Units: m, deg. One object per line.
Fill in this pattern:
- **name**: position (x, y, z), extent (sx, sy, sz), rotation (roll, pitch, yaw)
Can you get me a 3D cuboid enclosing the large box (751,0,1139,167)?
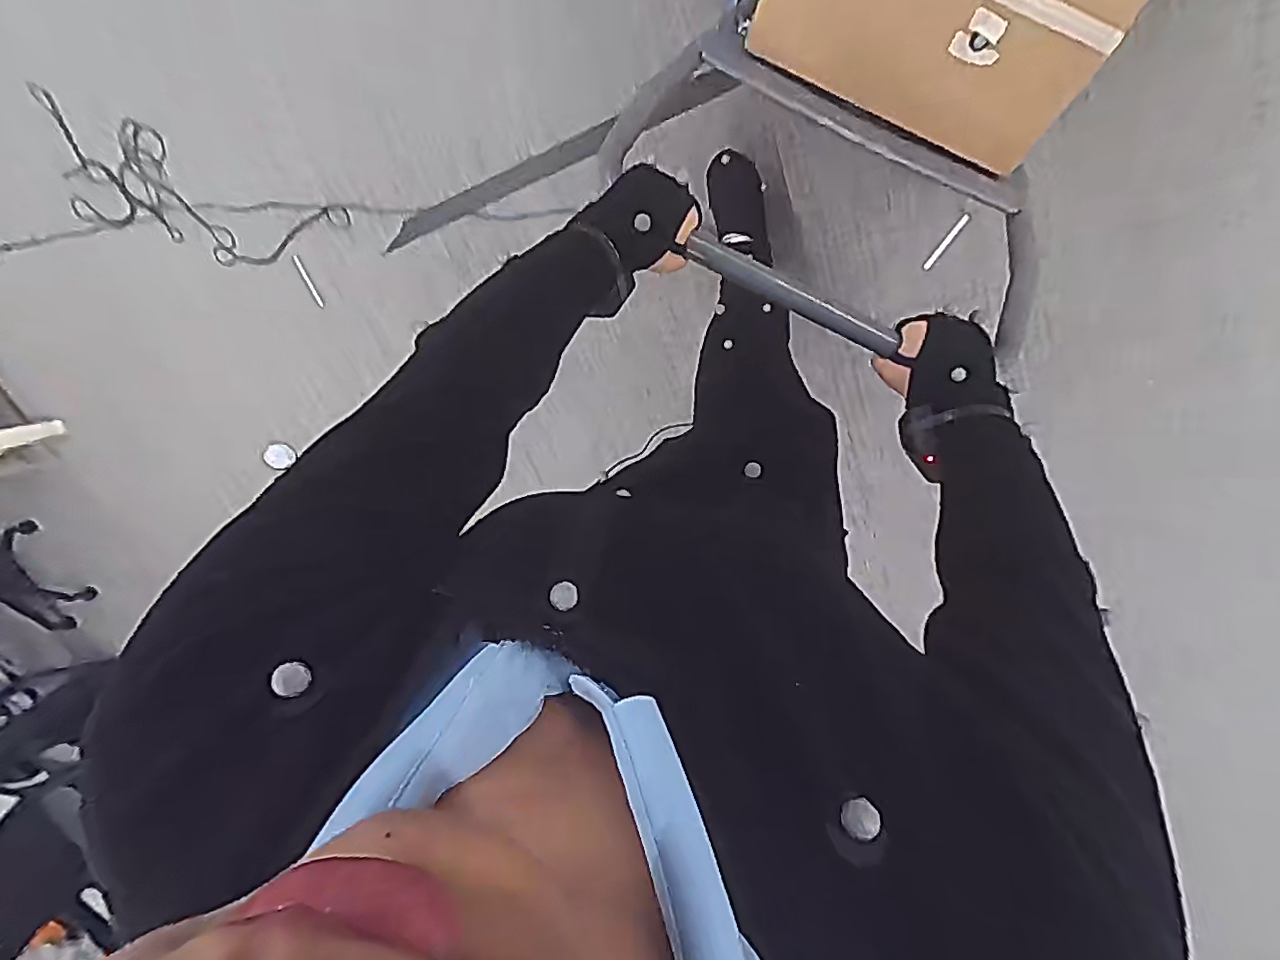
- **large box**: position (0.417, -0.704, 0.726), extent (0.408, 0.320, 0.320), rotation (26, 142, 0)
